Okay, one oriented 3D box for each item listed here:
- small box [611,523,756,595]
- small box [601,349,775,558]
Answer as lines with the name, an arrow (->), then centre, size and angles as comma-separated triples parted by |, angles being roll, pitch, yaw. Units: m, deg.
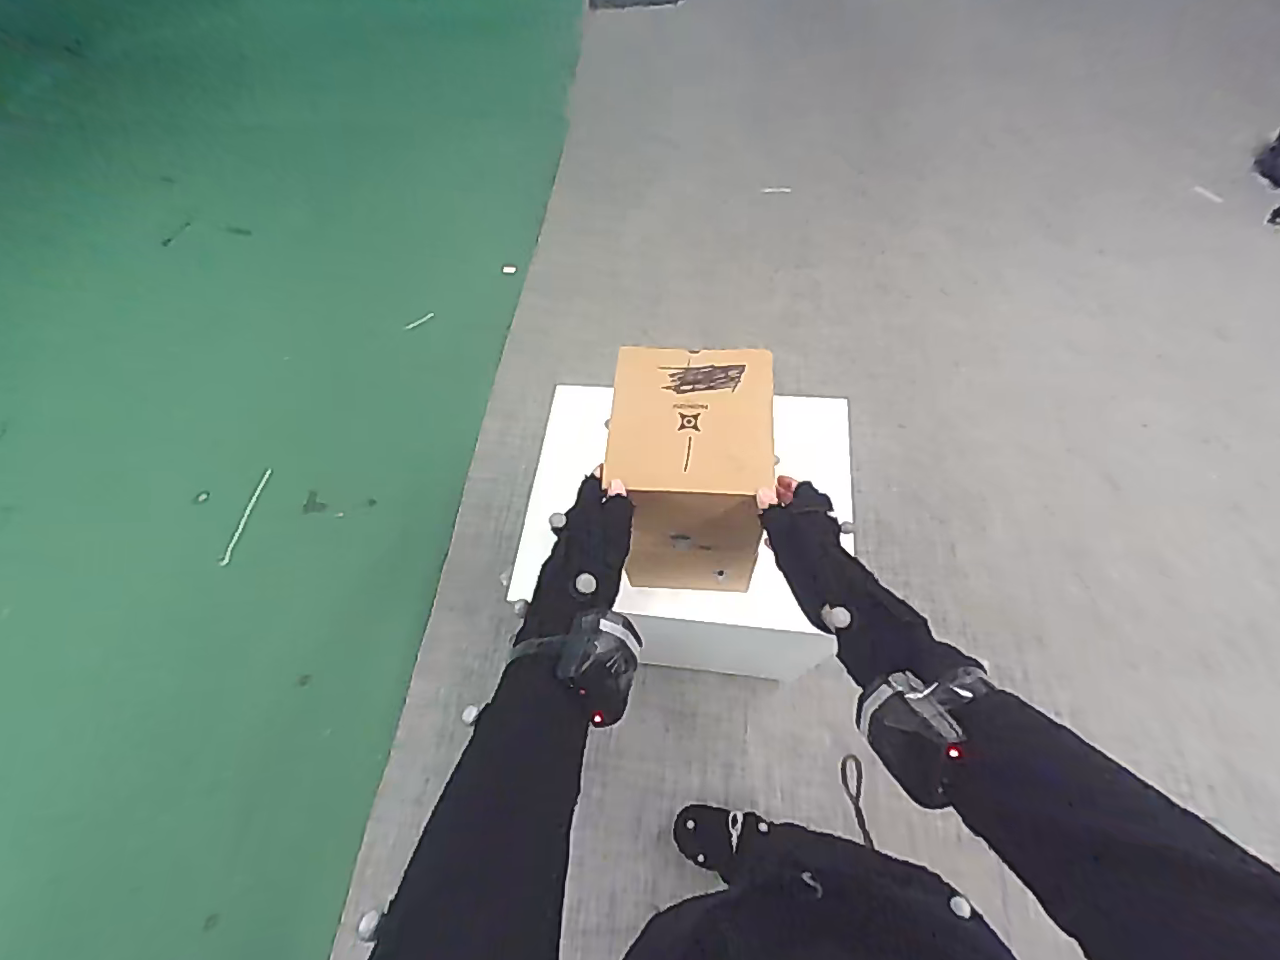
small box -> 0.065, 0.057, 0.753 | 0.179, 0.176, 0.168 | 0, 62, 8
small box -> 0.054, -0.025, 0.611 | 0.168, 0.176, 0.179 | 0, 61, 6
